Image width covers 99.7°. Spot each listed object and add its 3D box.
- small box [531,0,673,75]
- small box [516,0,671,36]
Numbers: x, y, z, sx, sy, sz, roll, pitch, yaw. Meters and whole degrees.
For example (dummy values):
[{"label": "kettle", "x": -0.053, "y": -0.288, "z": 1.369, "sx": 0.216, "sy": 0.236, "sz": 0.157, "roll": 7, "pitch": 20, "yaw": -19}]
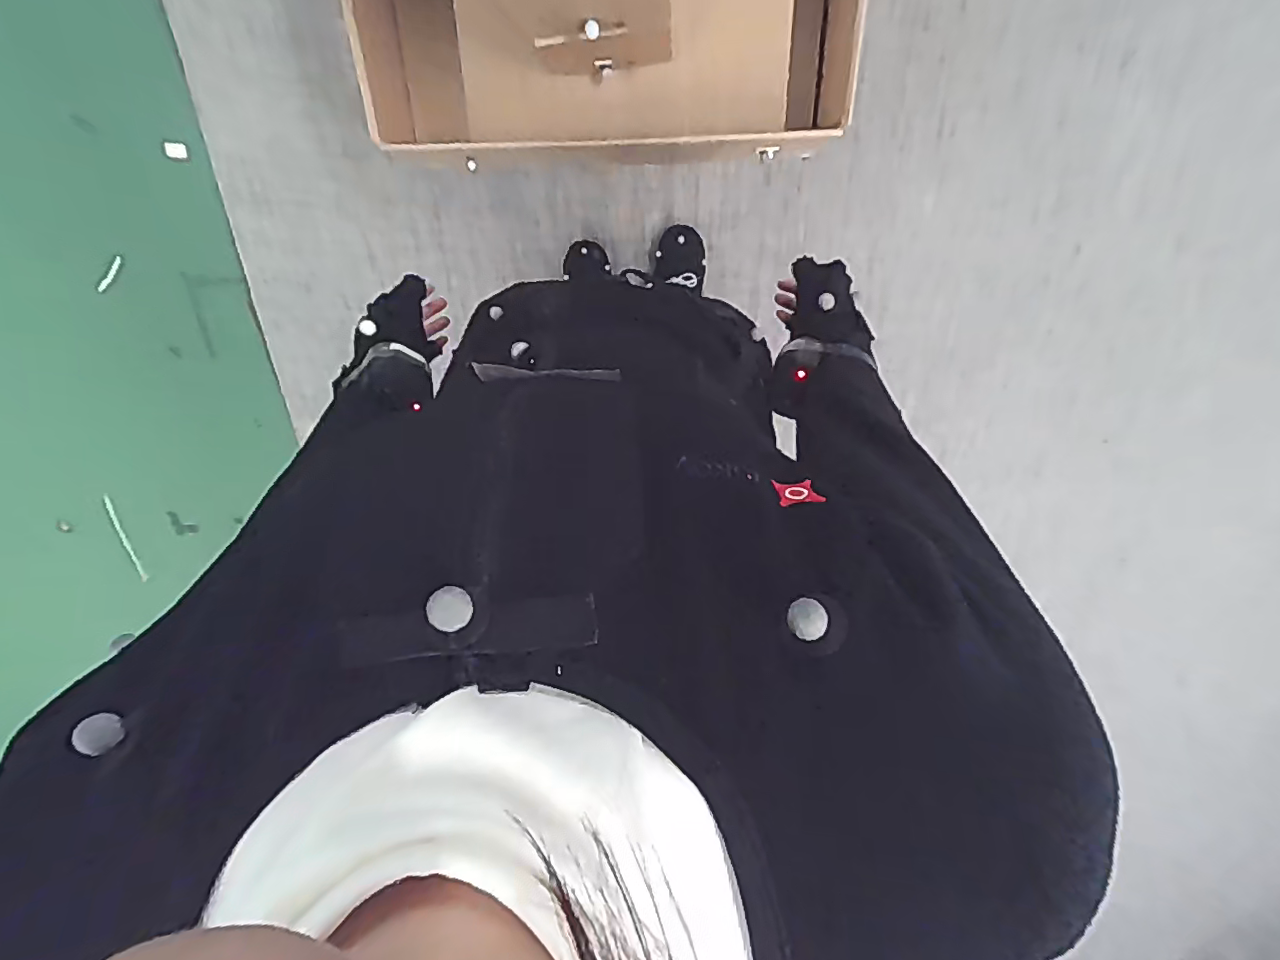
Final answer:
[{"label": "small box", "x": -0.048, "y": -0.630, "z": 0.662, "sx": 0.168, "sy": 0.176, "sz": 0.179, "roll": -4, "pitch": 116, "yaw": 6}, {"label": "small box", "x": -0.055, "y": -0.562, "z": 0.513, "sx": 0.168, "sy": 0.176, "sz": 0.179, "roll": -2, "pitch": 116, "yaw": 5}]
